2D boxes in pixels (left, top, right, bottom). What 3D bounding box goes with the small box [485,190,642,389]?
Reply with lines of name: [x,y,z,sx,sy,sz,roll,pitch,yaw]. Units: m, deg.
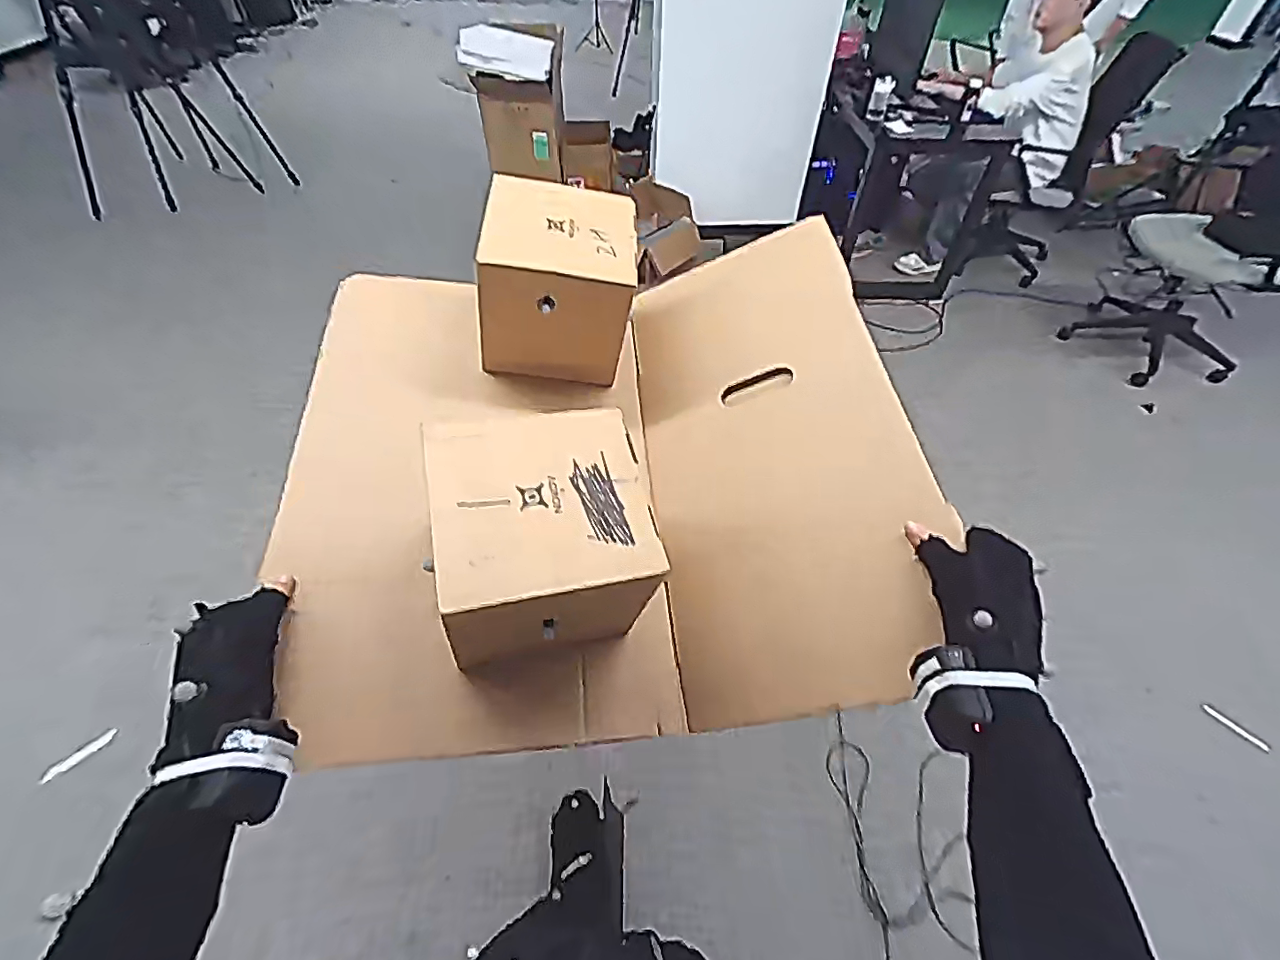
small box: [-0.099,-0.239,0.705,0.179,0.176,0.168,7,58,-10]

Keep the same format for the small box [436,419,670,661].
small box: [-0.092,0.061,0.520,0.179,0.176,0.168,-7,61,-17]
